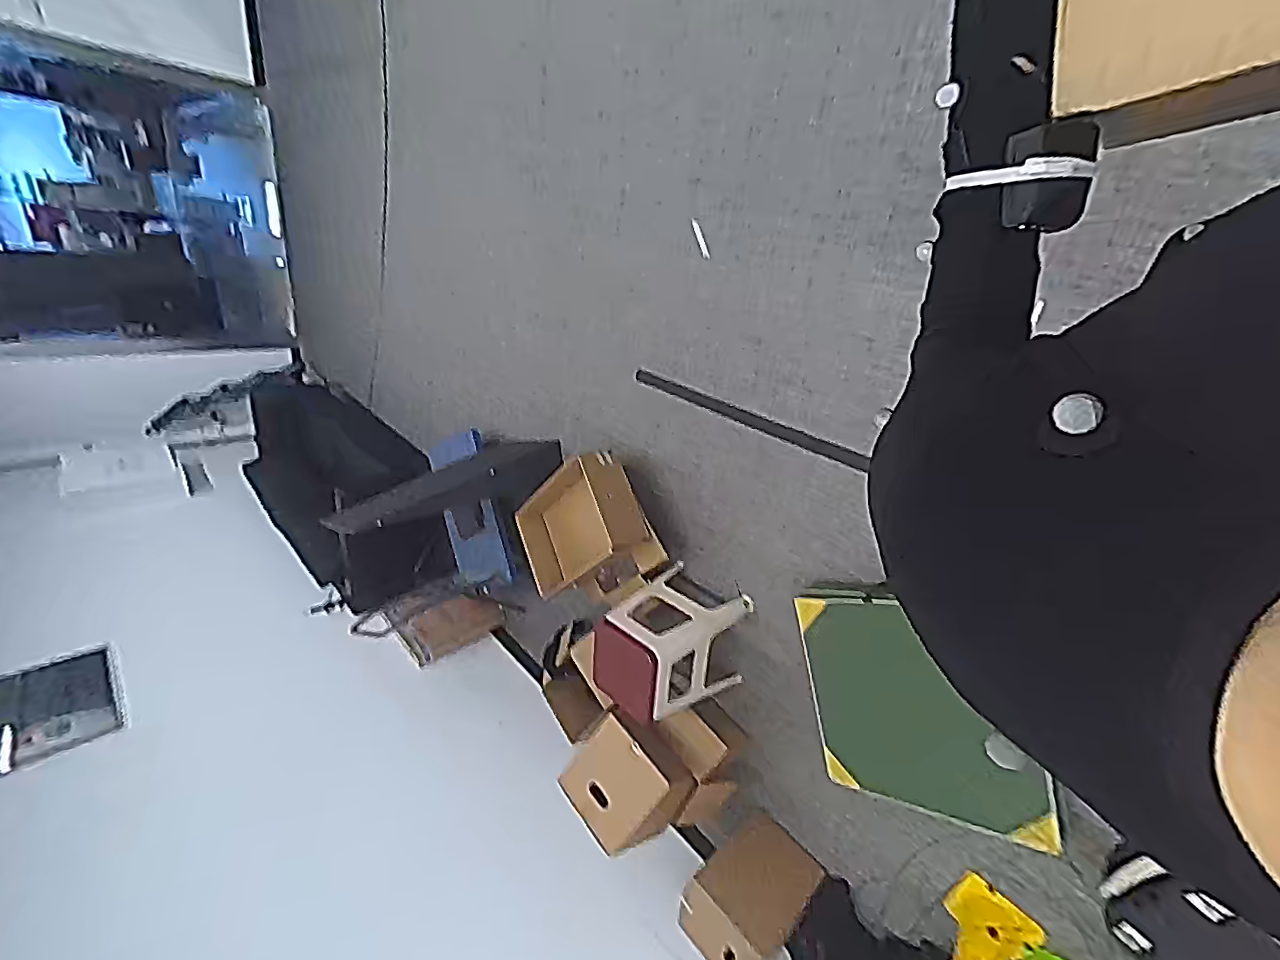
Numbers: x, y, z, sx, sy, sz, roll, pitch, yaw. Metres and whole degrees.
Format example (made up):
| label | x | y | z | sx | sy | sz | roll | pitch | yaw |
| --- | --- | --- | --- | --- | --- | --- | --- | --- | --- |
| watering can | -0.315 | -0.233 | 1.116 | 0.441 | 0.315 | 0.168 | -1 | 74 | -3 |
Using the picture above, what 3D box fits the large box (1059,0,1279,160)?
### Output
| label | x | y | z | sx | sy | sz | roll | pitch | yaw |
| --- | --- | --- | --- | --- | --- | --- | --- | --- | --- |
| large box | 0.511 | -0.415 | 0.301 | 0.408 | 0.320 | 0.320 | 8 | 116 | 43 |
